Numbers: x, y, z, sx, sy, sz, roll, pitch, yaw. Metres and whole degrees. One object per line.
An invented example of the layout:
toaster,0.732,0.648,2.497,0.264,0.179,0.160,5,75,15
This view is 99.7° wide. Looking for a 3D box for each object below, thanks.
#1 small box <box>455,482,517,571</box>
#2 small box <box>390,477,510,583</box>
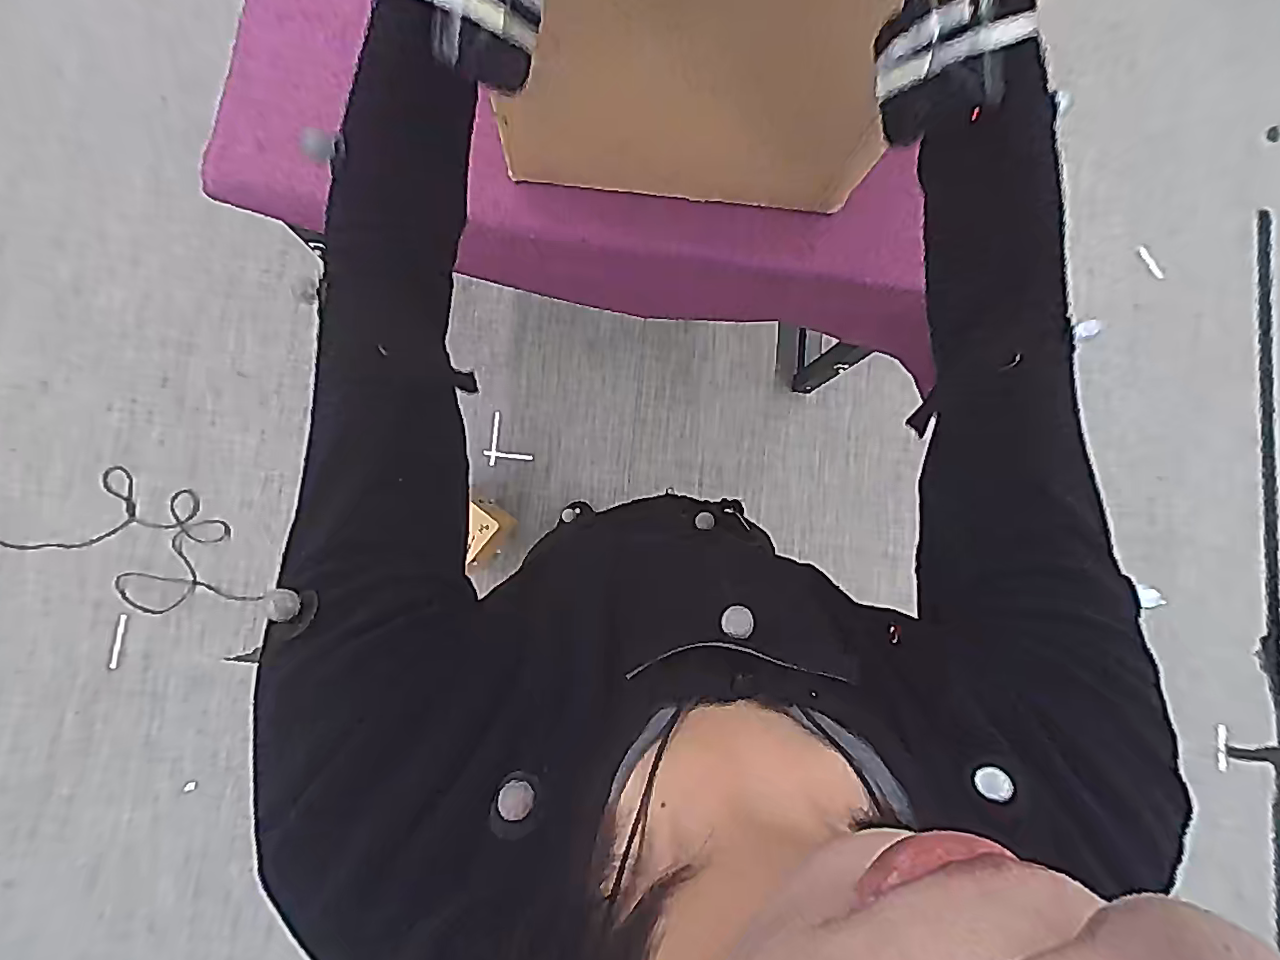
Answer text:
small box,-0.442,0.127,1.401,0.179,0.176,0.168,37,83,-2
small box,-0.424,0.117,1.238,0.179,0.176,0.168,39,83,0
